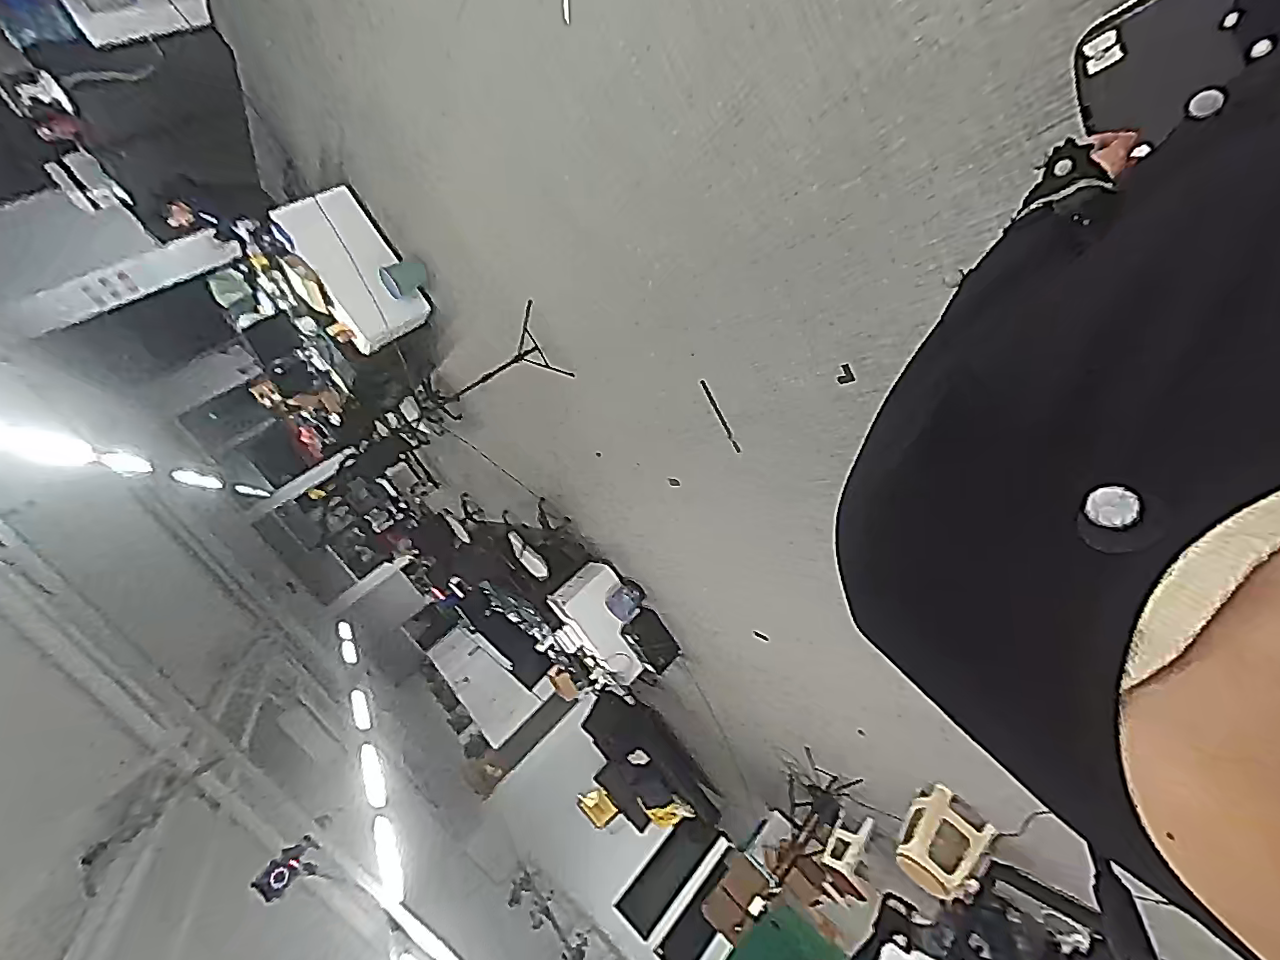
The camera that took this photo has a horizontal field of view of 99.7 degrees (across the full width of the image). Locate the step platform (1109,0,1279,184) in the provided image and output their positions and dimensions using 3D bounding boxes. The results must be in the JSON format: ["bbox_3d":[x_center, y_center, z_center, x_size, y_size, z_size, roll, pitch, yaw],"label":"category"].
[{"bbox_3d":[1.070,-0.679,0.712,0.684,0.204,0.286,1,126,56],"label":"step platform"}]
